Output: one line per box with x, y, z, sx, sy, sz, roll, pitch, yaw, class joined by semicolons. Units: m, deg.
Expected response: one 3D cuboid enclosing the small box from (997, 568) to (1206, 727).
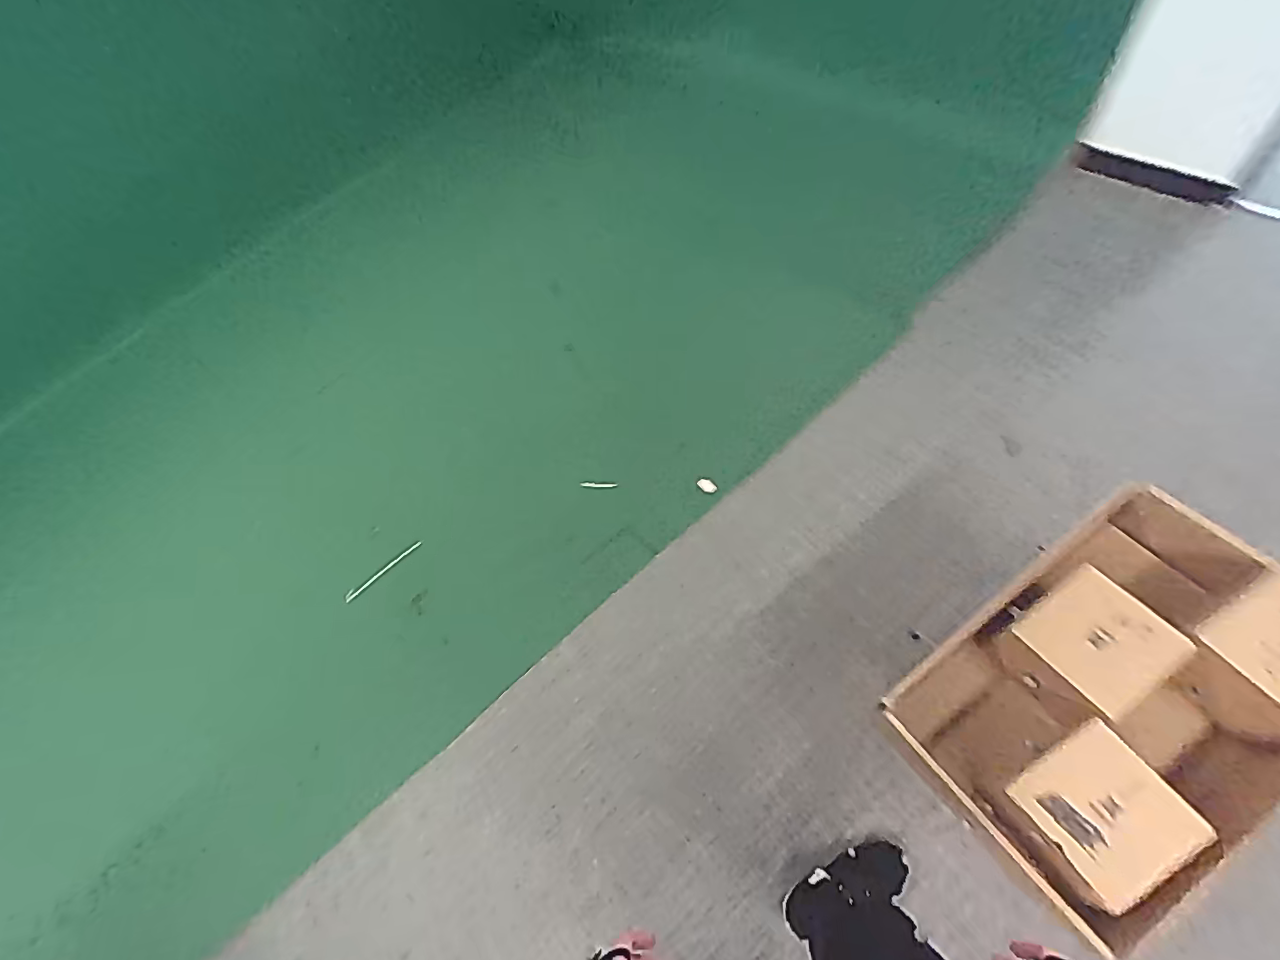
0.720;0.278;0.875;0.179;0.176;0.168;-37;60;-4;small box

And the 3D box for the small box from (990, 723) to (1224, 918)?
0.650;0.483;0.787;0.179;0.176;0.168;-34;59;-3;small box
